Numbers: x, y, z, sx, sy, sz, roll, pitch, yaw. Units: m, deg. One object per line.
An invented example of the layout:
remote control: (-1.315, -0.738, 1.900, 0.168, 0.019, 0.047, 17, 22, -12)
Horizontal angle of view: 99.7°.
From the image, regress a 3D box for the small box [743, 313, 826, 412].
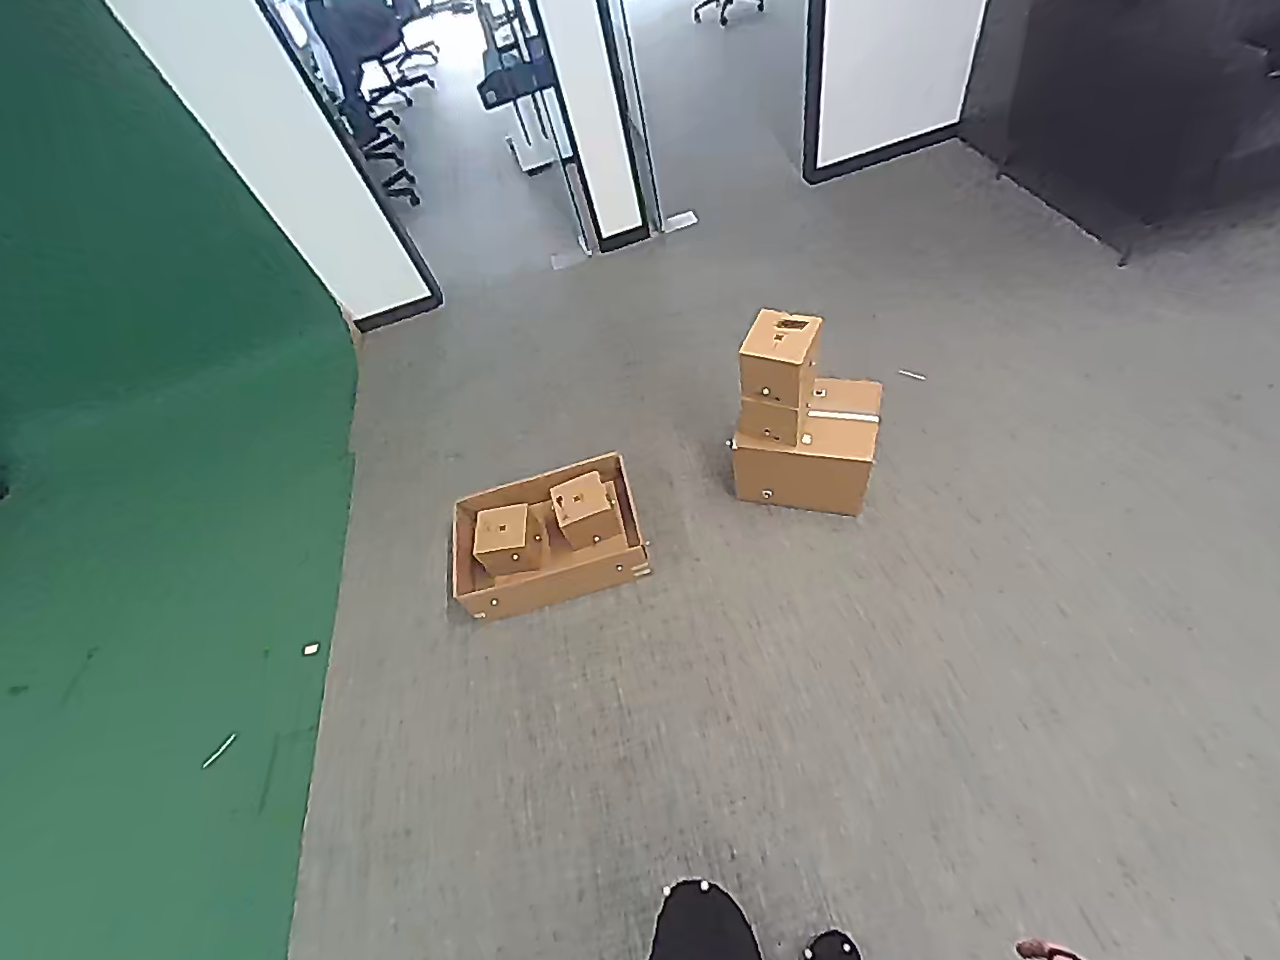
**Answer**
small box: (0.385, -0.313, 1.448, 0.168, 0.176, 0.179, 18, 63, 25)

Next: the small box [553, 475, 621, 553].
small box: (-0.173, 0.117, 1.813, 0.179, 0.176, 0.168, -20, 53, 0)
